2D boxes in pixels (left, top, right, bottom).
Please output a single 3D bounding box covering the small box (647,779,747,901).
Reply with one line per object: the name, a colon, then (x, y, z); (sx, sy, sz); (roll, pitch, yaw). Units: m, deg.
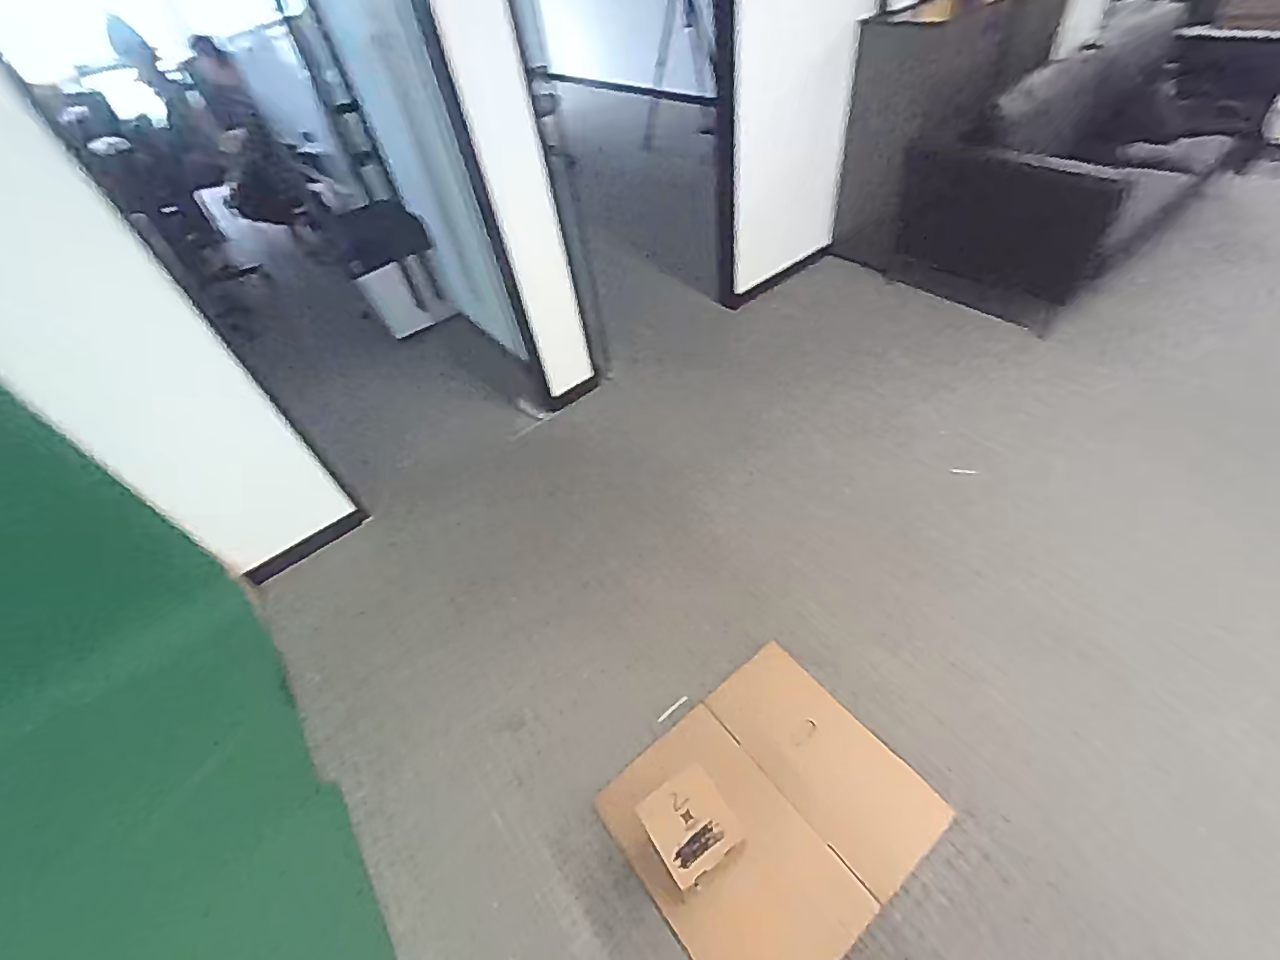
small box: (0.139, 0.862, 1.291); (0.179, 0.176, 0.168); (-30, 50, -17)
